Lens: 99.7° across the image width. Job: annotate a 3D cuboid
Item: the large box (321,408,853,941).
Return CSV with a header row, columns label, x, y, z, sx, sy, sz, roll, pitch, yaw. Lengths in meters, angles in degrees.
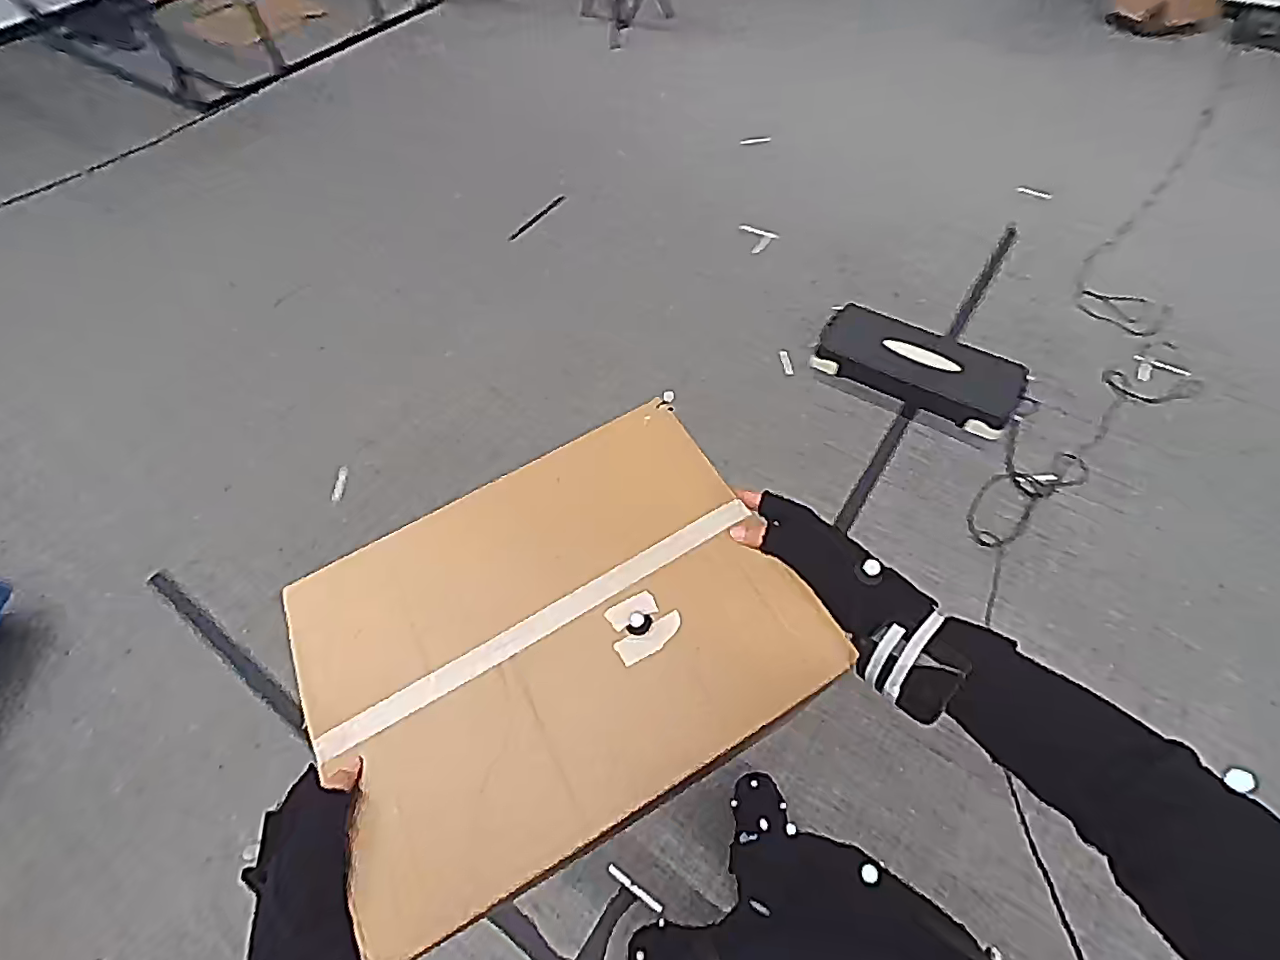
label,x,y,z,sx,sy,sz,roll,pitch,yaw
large box,-0.052,0.198,0.607,0.408,0.320,0.320,-27,61,-10
